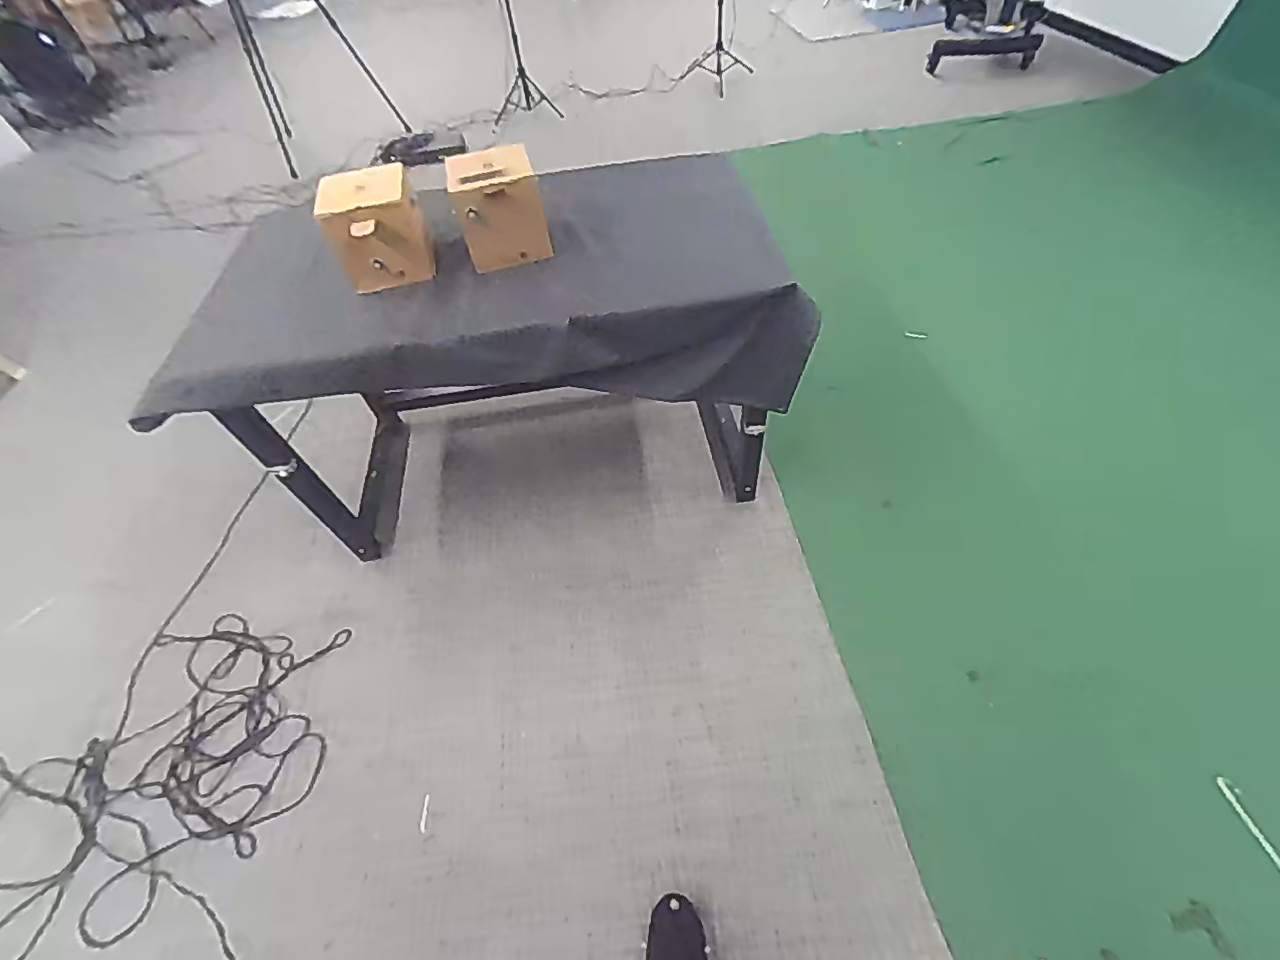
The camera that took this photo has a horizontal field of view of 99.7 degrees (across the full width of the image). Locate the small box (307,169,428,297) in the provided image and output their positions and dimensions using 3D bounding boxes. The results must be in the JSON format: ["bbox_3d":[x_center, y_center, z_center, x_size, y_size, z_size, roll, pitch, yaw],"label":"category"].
[{"bbox_3d":[-0.550,-0.506,1.112,0.168,0.176,0.179,-15,53,-7],"label":"small box"}]
